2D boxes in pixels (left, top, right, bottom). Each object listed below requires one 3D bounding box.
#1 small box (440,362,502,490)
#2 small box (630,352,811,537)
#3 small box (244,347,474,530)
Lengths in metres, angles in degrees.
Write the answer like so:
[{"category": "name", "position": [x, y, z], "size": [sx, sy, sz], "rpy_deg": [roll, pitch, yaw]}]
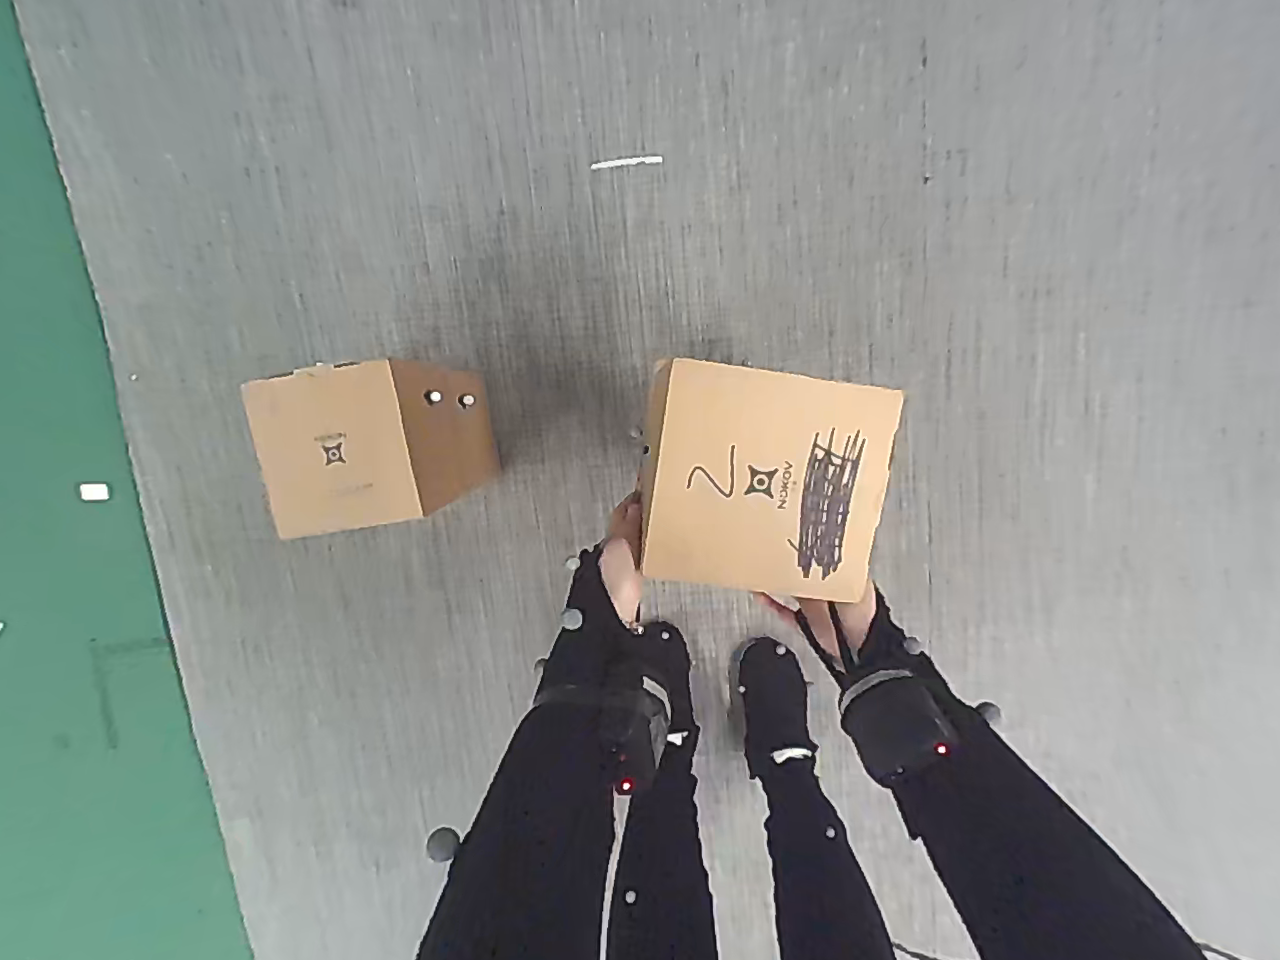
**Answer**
[{"category": "small box", "position": [-0.321, -0.072, 0.812], "size": [0.168, 0.176, 0.179], "rpy_deg": [-9, 99, 2]}, {"category": "small box", "position": [0.085, -0.048, 0.646], "size": [0.168, 0.176, 0.179], "rpy_deg": [8, 100, 0]}, {"category": "small box", "position": [-0.318, -0.053, 0.651], "size": [0.168, 0.176, 0.179], "rpy_deg": [-9, 99, 4]}]
